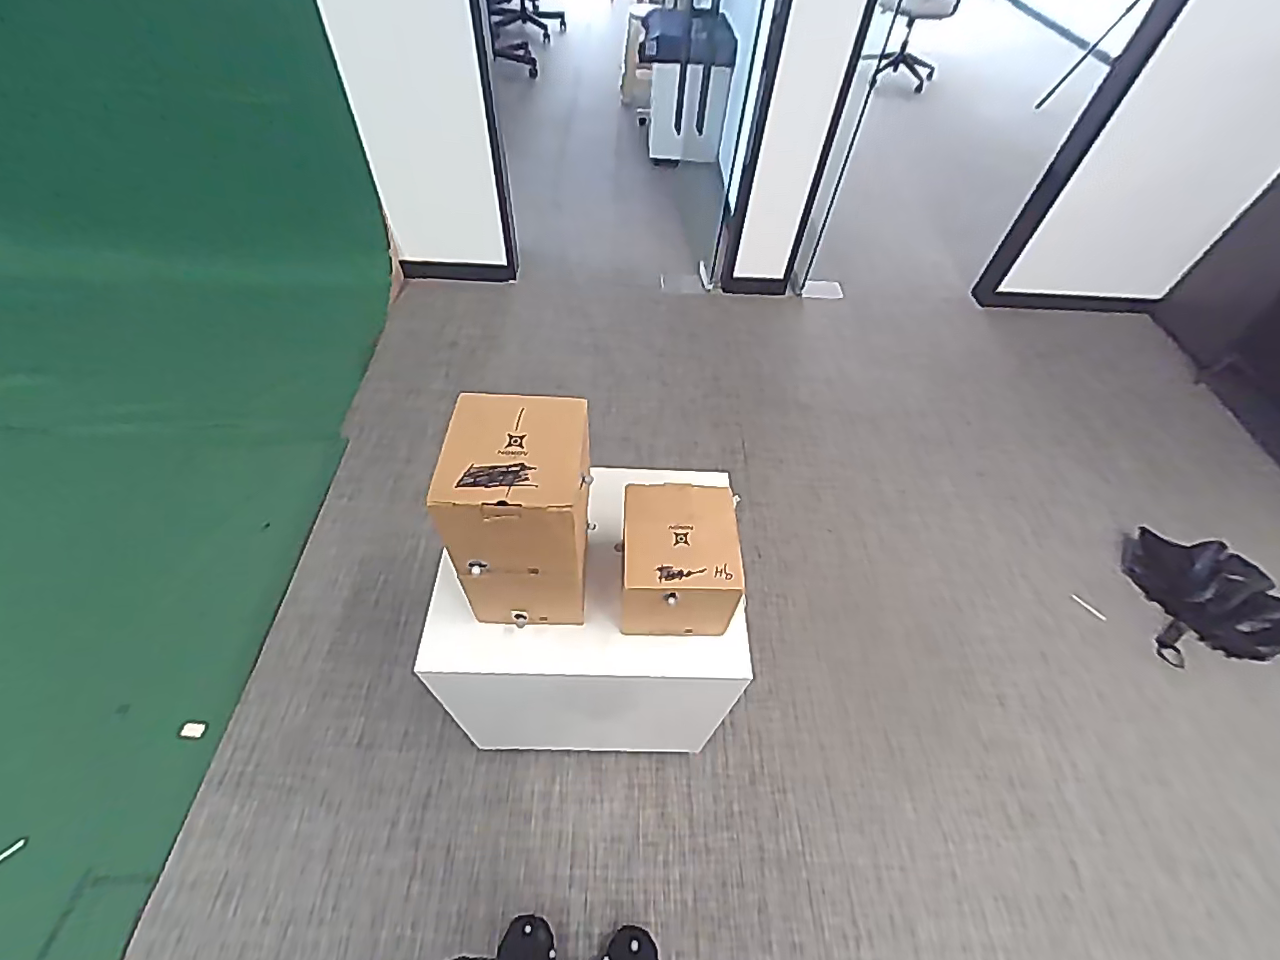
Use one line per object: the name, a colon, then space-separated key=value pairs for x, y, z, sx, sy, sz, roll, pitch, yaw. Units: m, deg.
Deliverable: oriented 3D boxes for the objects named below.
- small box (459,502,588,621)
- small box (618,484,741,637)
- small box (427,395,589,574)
small box: x=-0.167 y=0.101 z=0.832 sx=0.168 sy=0.176 sz=0.179 roll=0 pitch=54 yaw=-4
small box: x=0.052 y=0.127 z=0.846 sx=0.168 sy=0.176 sz=0.179 roll=2 pitch=52 yaw=-3
small box: x=-0.157 y=0.010 z=0.716 sx=0.168 sy=0.176 sz=0.179 roll=3 pitch=51 yaw=-1
